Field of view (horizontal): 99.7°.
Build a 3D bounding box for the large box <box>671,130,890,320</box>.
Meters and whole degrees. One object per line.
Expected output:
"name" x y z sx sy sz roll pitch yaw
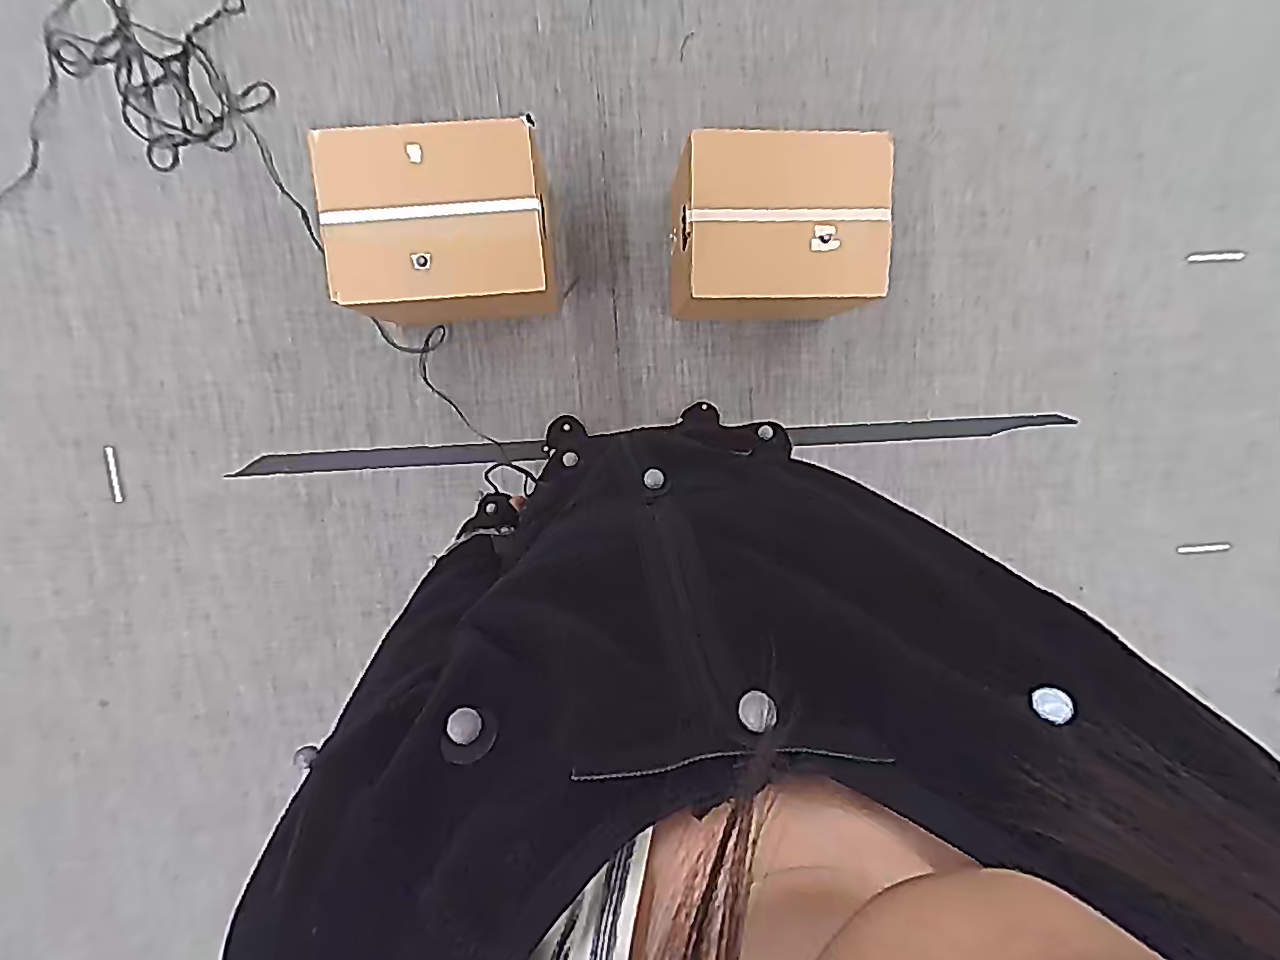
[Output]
"large box" 0.289 -0.547 1.220 0.408 0.320 0.320 -1 99 -4
